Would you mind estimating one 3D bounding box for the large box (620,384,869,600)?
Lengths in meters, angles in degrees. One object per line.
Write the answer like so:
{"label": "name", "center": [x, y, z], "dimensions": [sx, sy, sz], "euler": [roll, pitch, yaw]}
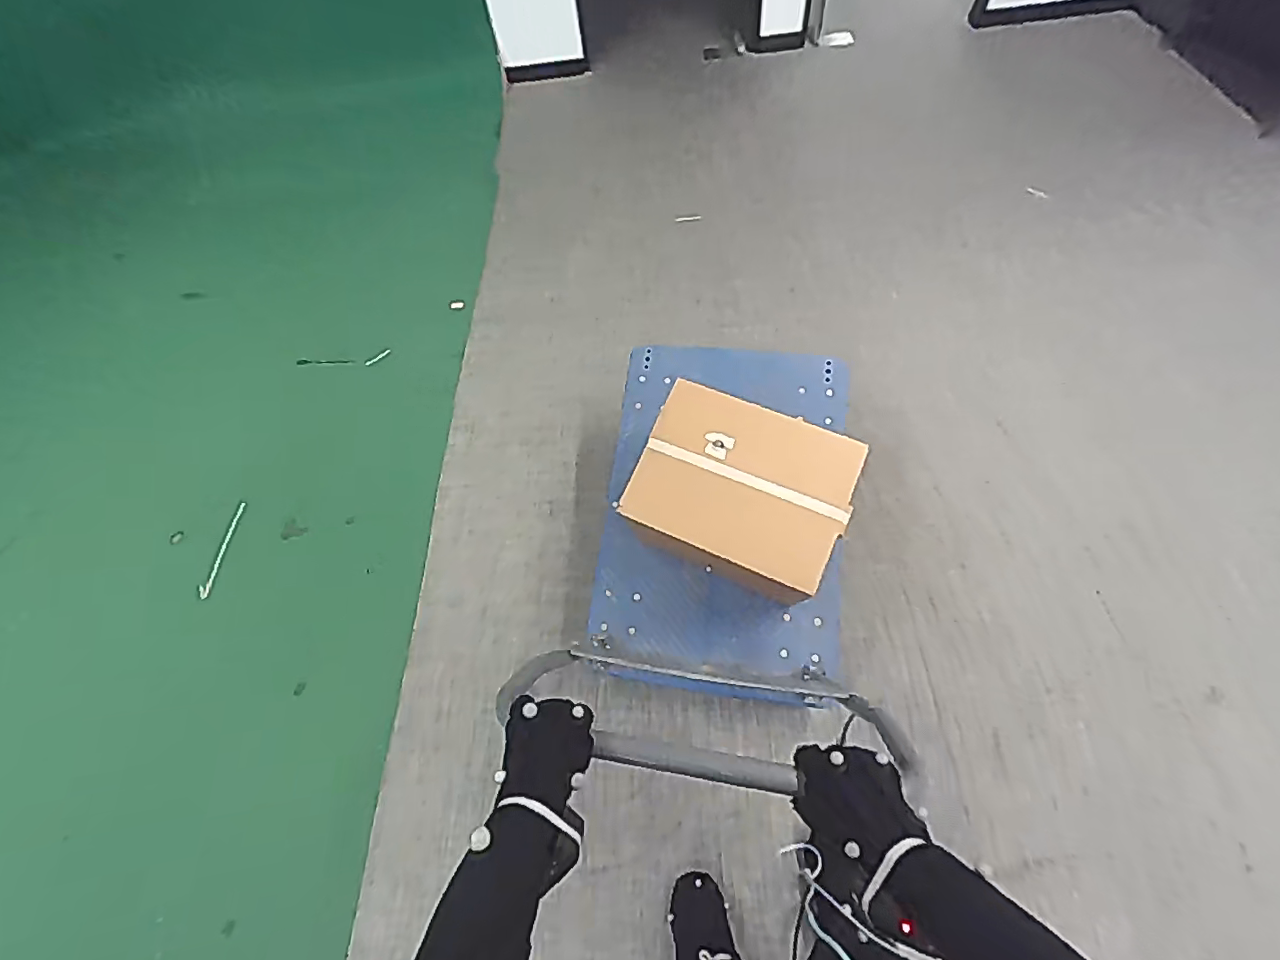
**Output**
{"label": "large box", "center": [0.224, 0.042, 1.185], "dimensions": [0.408, 0.320, 0.320], "euler": [22, 78, 15]}
